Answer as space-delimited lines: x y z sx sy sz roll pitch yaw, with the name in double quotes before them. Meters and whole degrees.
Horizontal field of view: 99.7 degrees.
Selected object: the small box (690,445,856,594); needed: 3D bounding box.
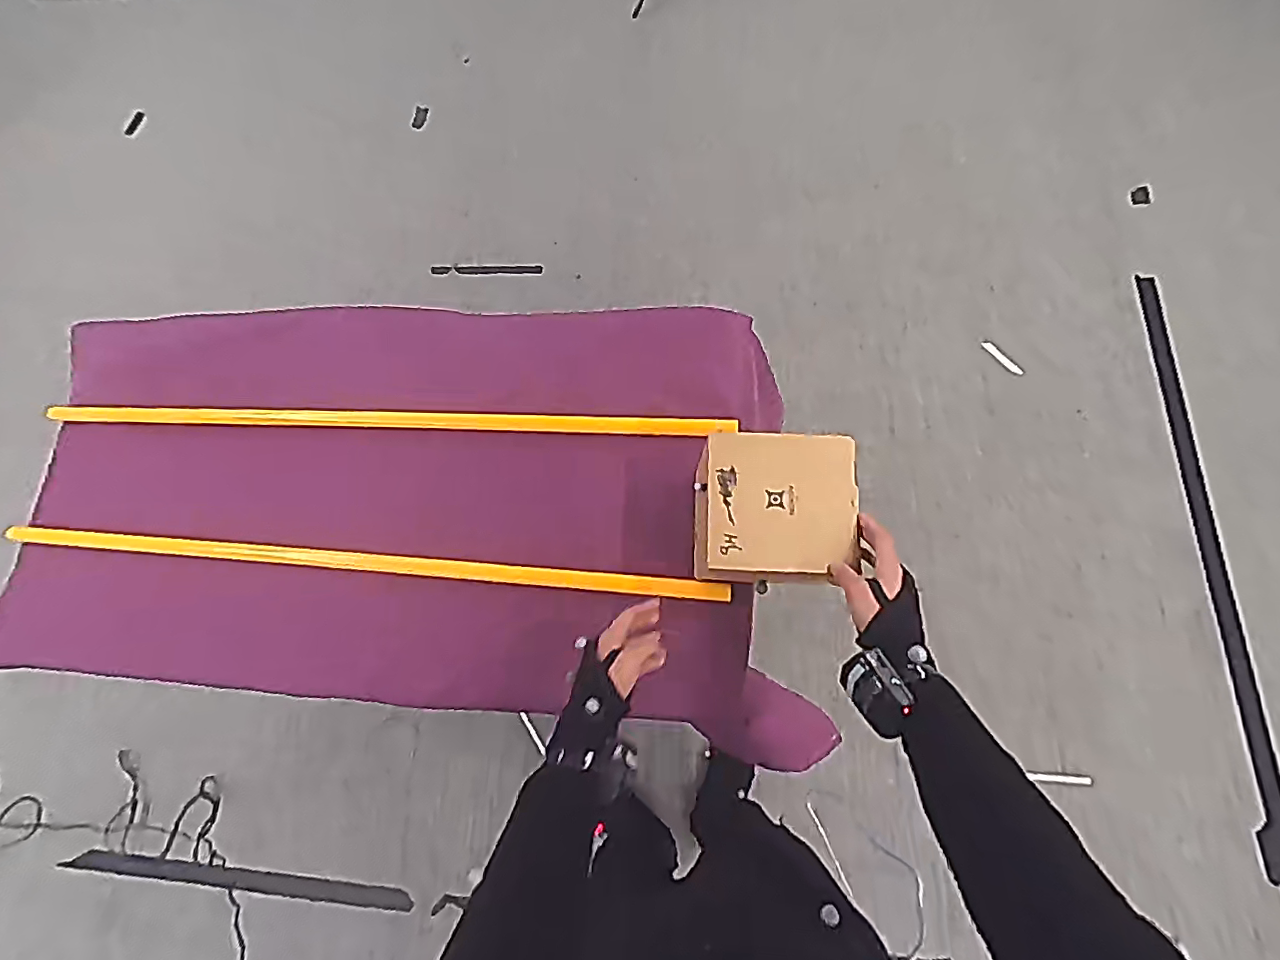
"small box" 0.165 0.061 0.711 0.179 0.176 0.168 3 76 1
